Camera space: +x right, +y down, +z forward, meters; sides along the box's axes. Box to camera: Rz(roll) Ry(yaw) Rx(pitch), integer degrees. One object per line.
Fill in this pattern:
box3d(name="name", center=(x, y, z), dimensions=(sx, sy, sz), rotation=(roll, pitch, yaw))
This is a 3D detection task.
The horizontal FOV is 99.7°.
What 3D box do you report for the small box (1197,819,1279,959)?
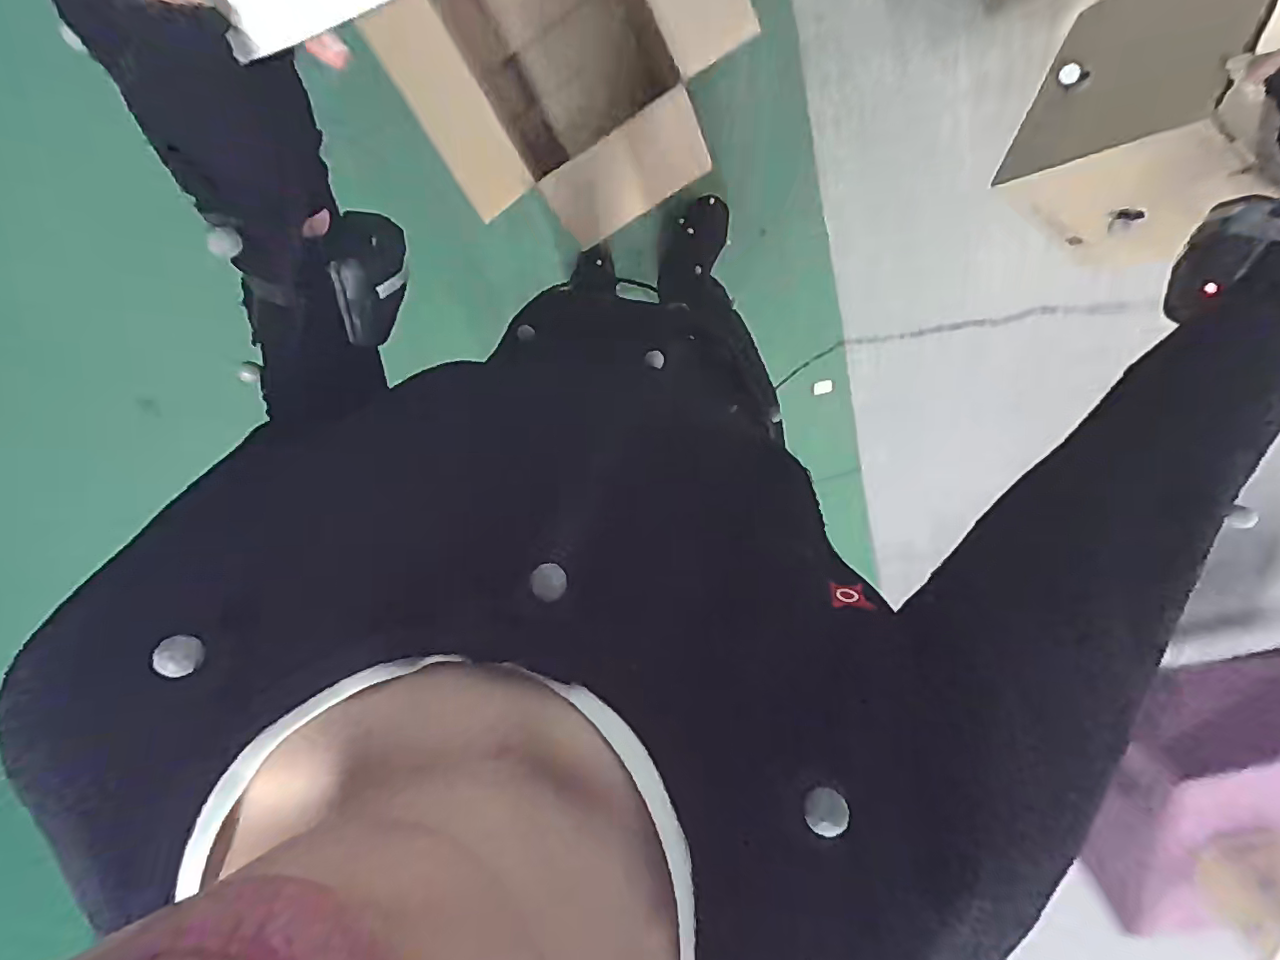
box3d(name="small box", center=(1.307, 0.823, 1.104), dimensions=(0.168, 0.176, 0.179), rotation=(-15, 116, 6))
